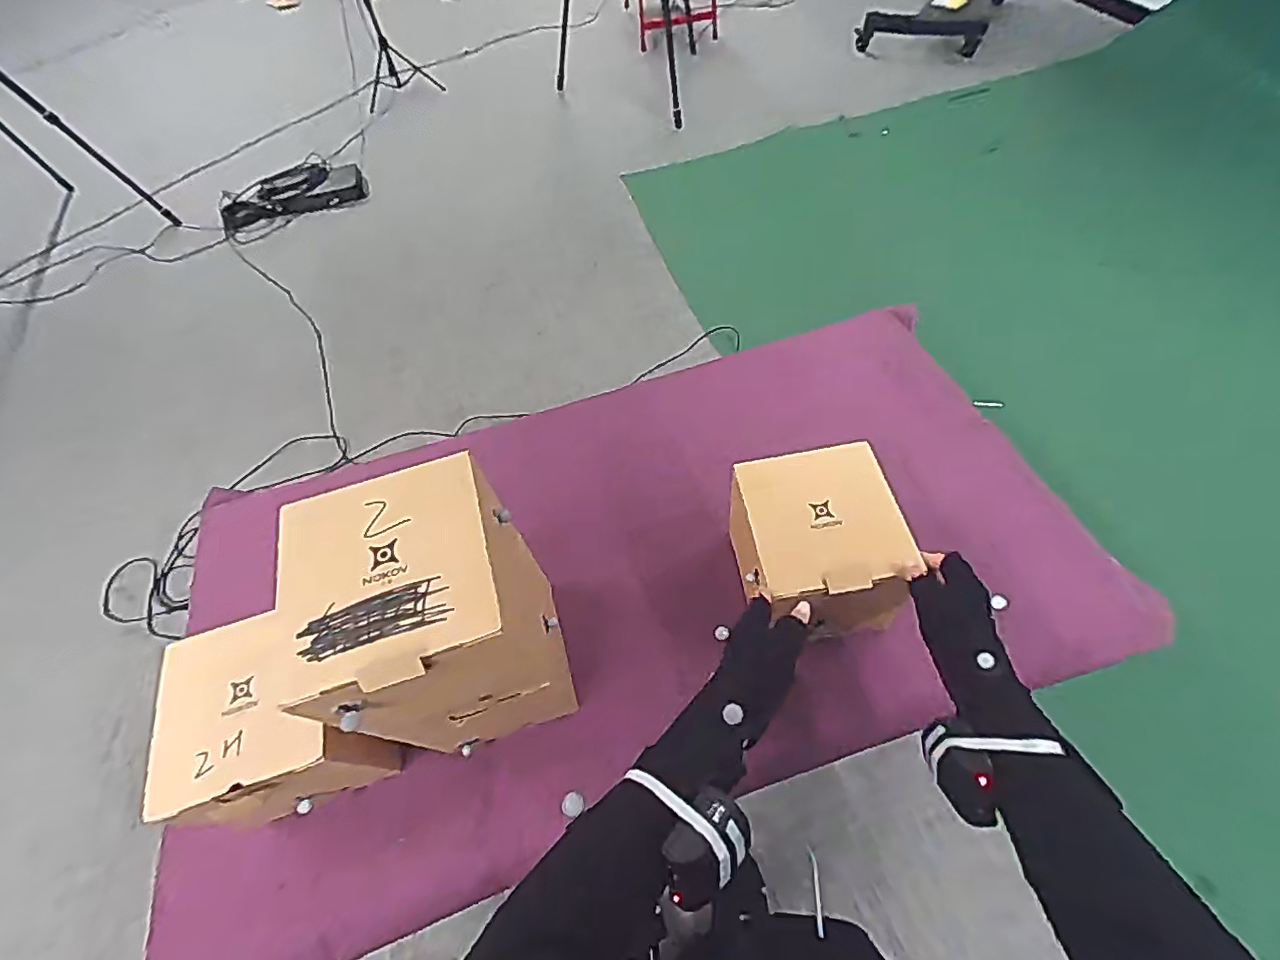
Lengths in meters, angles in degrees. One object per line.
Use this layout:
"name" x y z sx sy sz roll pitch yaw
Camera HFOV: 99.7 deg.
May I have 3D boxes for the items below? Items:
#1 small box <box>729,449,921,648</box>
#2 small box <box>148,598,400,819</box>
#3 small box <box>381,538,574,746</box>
"small box" 0.208 0.088 0.671 0.168 0.176 0.179 -9 55 1
"small box" -0.394 0.265 0.616 0.168 0.176 0.179 -18 59 -6
"small box" -0.184 0.199 0.641 0.168 0.176 0.179 -17 58 -6
